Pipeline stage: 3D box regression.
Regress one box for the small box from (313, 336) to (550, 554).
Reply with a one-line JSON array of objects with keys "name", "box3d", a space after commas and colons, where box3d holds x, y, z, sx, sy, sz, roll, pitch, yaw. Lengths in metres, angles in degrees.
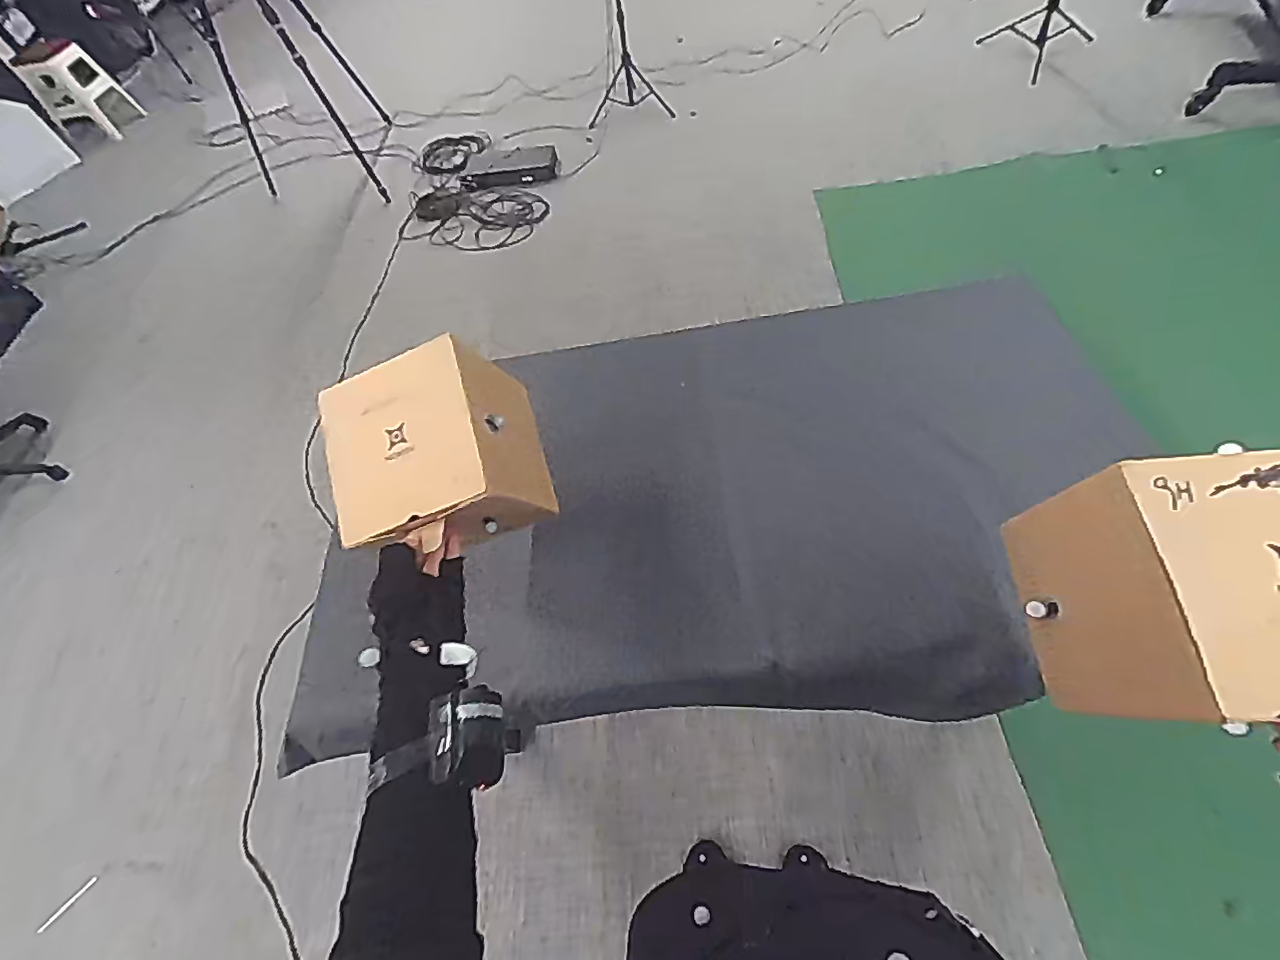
[{"name": "small box", "box3d": [-0.219, -0.023, 0.600, 0.168, 0.176, 0.179, -20, 75, 10]}]
